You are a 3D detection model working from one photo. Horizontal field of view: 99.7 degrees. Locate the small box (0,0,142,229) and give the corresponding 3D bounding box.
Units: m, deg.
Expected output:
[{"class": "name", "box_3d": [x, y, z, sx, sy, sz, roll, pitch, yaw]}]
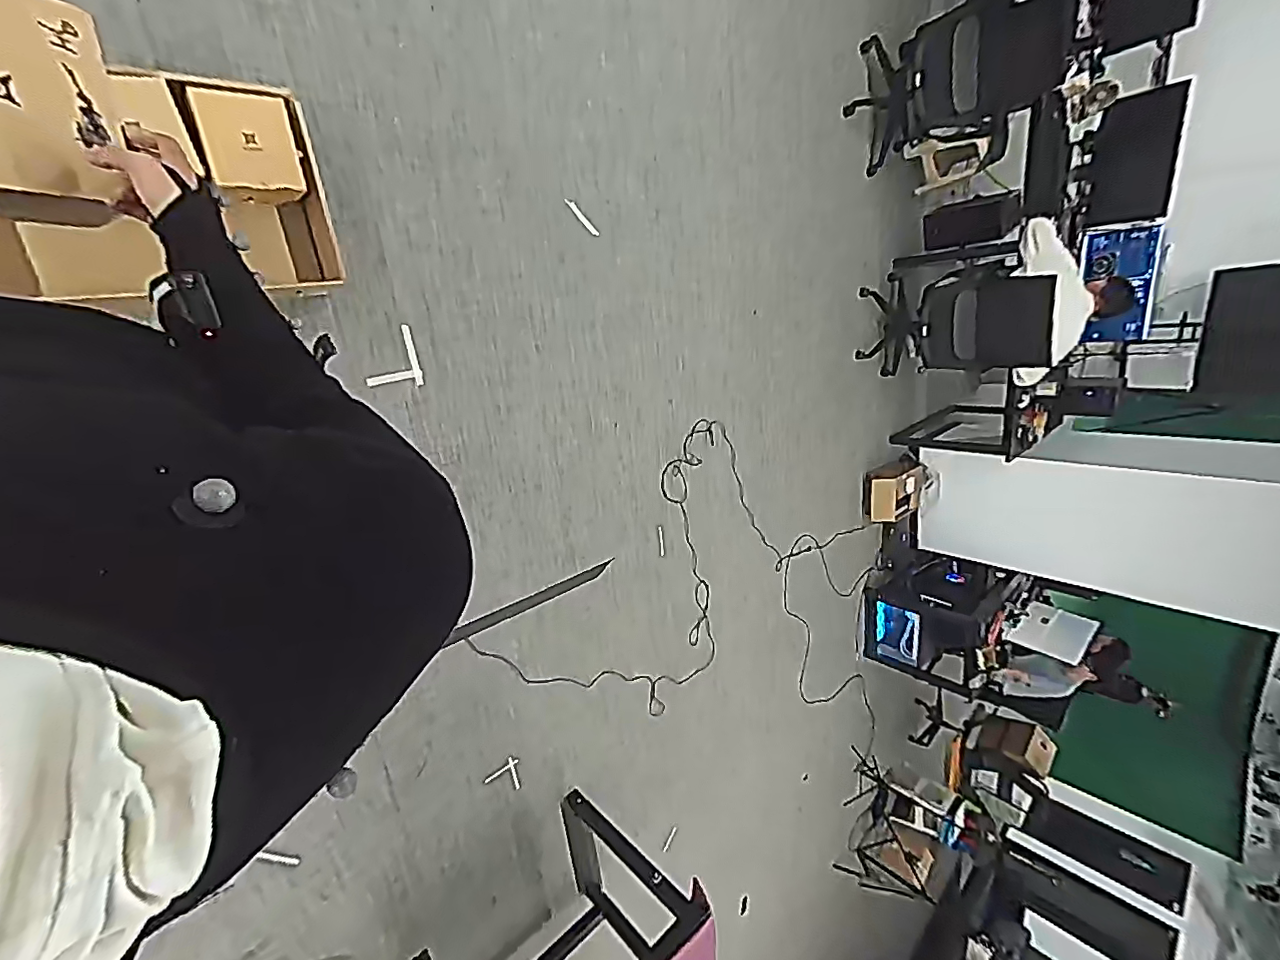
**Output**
[{"class": "small box", "box_3d": [-0.610, -0.336, 0.495, 0.179, 0.176, 0.168, -23, 116, -51]}]
